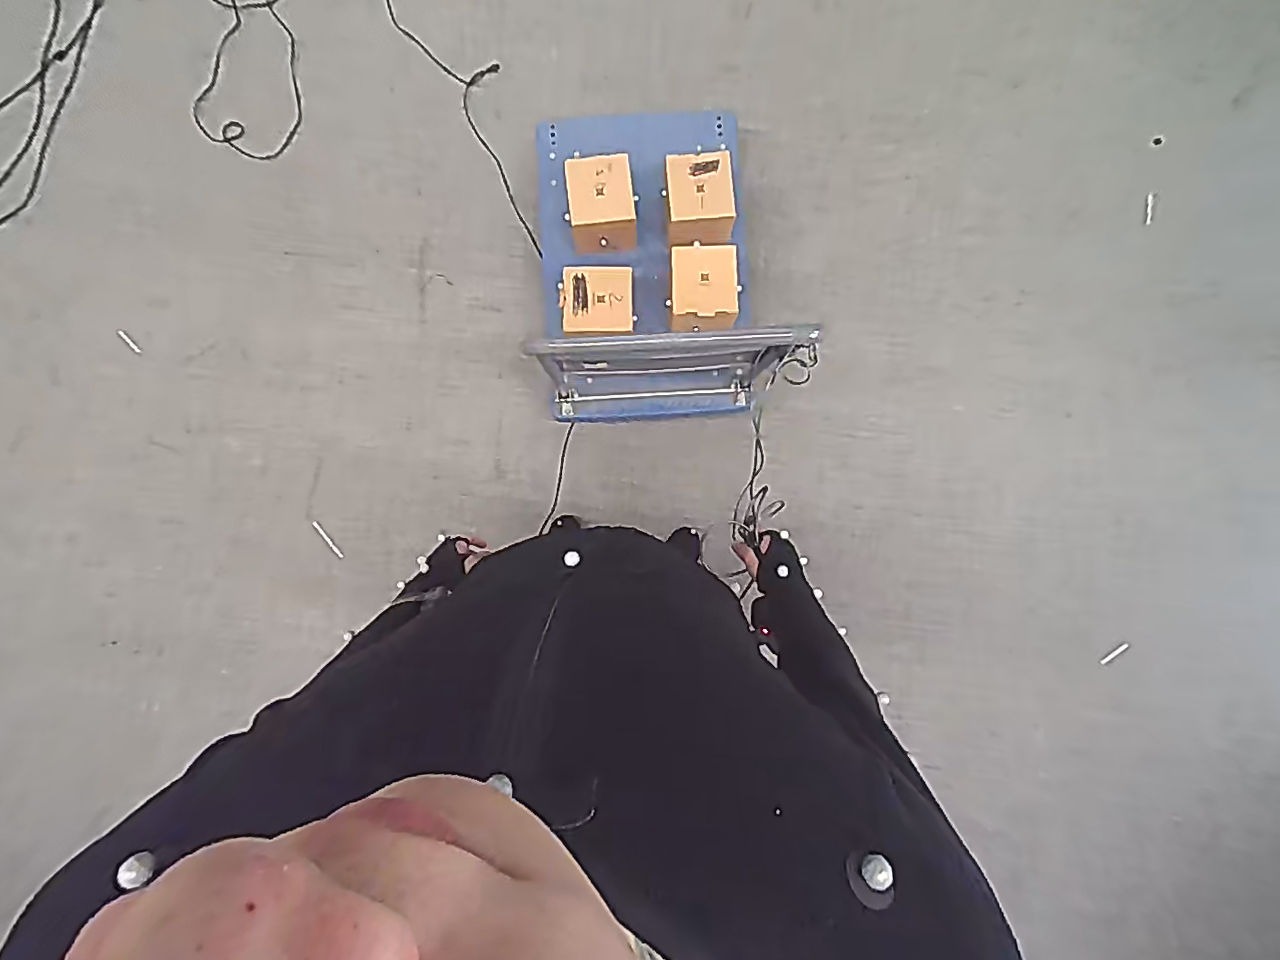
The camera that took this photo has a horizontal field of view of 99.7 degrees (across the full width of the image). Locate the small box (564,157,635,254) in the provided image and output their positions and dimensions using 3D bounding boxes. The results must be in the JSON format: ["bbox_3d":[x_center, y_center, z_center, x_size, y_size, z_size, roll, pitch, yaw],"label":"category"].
[{"bbox_3d":[-0.103,-0.721,1.444,0.168,0.176,0.179,-7,87,-2],"label":"small box"}]

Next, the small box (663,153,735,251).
[{"bbox_3d":[0.153,-0.734,1.445,0.168,0.176,0.179,-5,88,0],"label":"small box"}]

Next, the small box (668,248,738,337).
[{"bbox_3d":[0.161,-0.492,1.433,0.168,0.176,0.179,-2,87,-1],"label":"small box"}]
